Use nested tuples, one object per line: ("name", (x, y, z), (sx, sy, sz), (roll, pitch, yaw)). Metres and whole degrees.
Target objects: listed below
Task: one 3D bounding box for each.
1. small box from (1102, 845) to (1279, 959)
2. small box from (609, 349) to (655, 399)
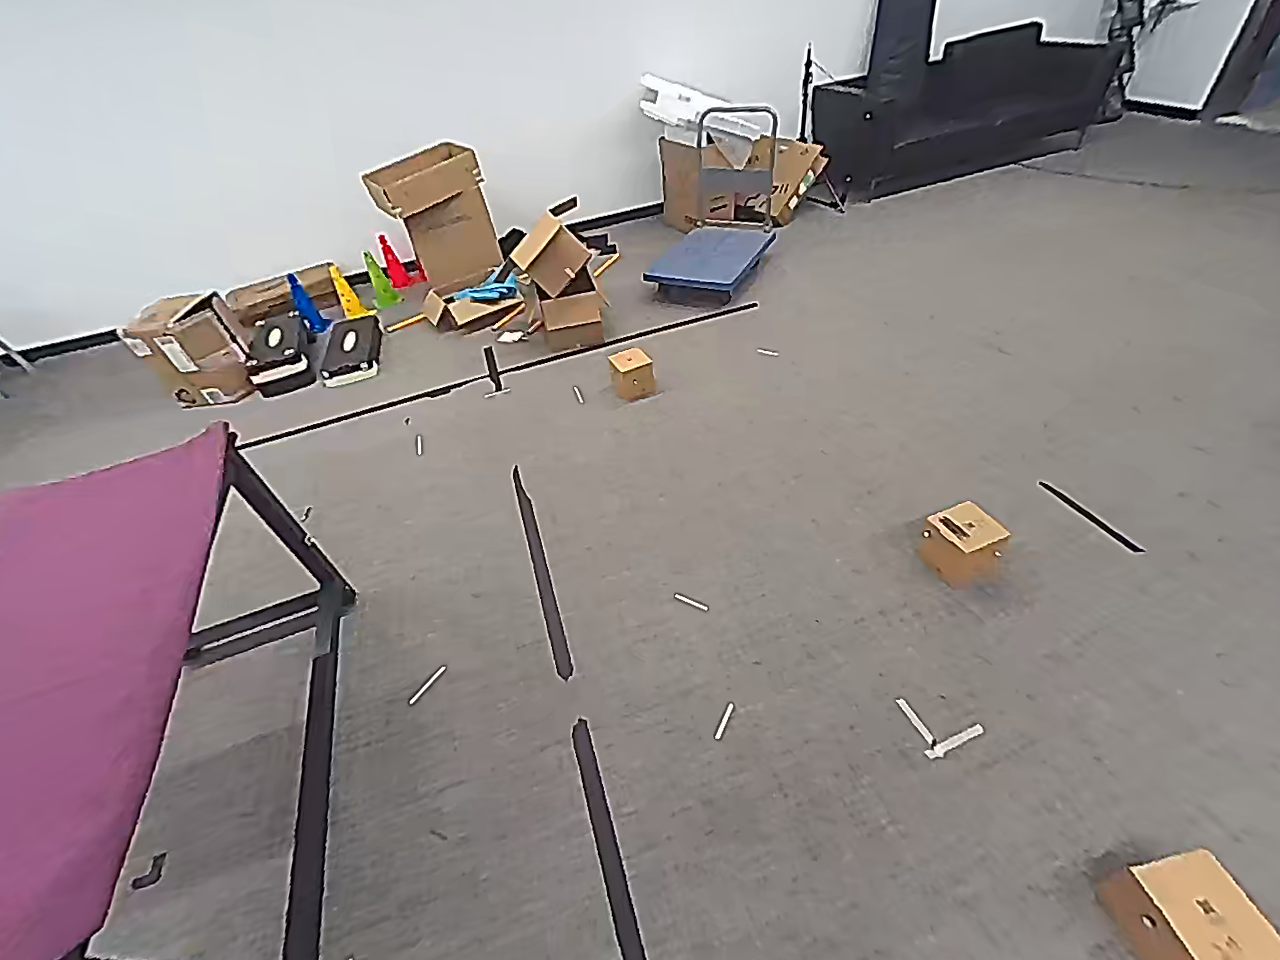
("small box", (1.055, 0.840, 1.038), (0.168, 0.176, 0.179), (-12, 43, -3))
("small box", (-0.037, -0.519, 2.680), (0.168, 0.176, 0.179), (-23, 44, -15))
